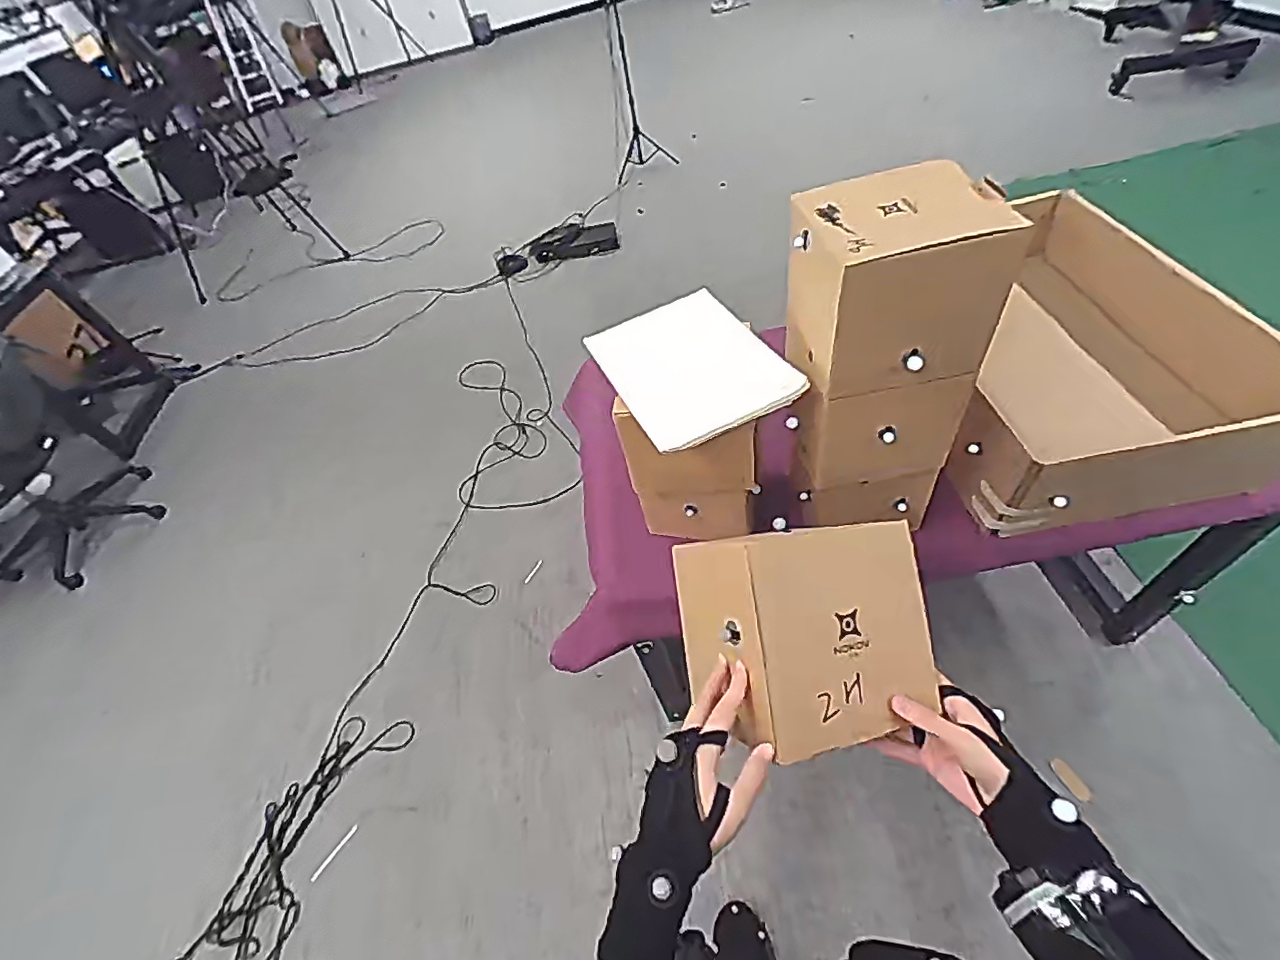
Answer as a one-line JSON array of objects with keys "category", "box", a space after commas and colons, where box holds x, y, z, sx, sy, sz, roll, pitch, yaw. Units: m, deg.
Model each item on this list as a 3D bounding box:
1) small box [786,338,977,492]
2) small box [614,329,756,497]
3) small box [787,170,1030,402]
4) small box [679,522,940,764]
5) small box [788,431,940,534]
[{"category": "small box", "box": [0.304, -0.106, 0.726, 0.179, 0.176, 0.168, -11, 48, 4]}, {"category": "small box", "box": [0.075, -0.090, 0.770, 0.179, 0.176, 0.168, -3, 50, 12]}, {"category": "small box", "box": [0.274, -0.212, 0.603, 0.179, 0.176, 0.168, -11, 47, 3]}, {"category": "small box", "box": [0.146, 0.138, 0.521, 0.168, 0.176, 0.179, -4, 84, -18]}, {"category": "small box", "box": [0.339, -0.011, 0.855, 0.168, 0.176, 0.179, -11, 48, 4]}]
